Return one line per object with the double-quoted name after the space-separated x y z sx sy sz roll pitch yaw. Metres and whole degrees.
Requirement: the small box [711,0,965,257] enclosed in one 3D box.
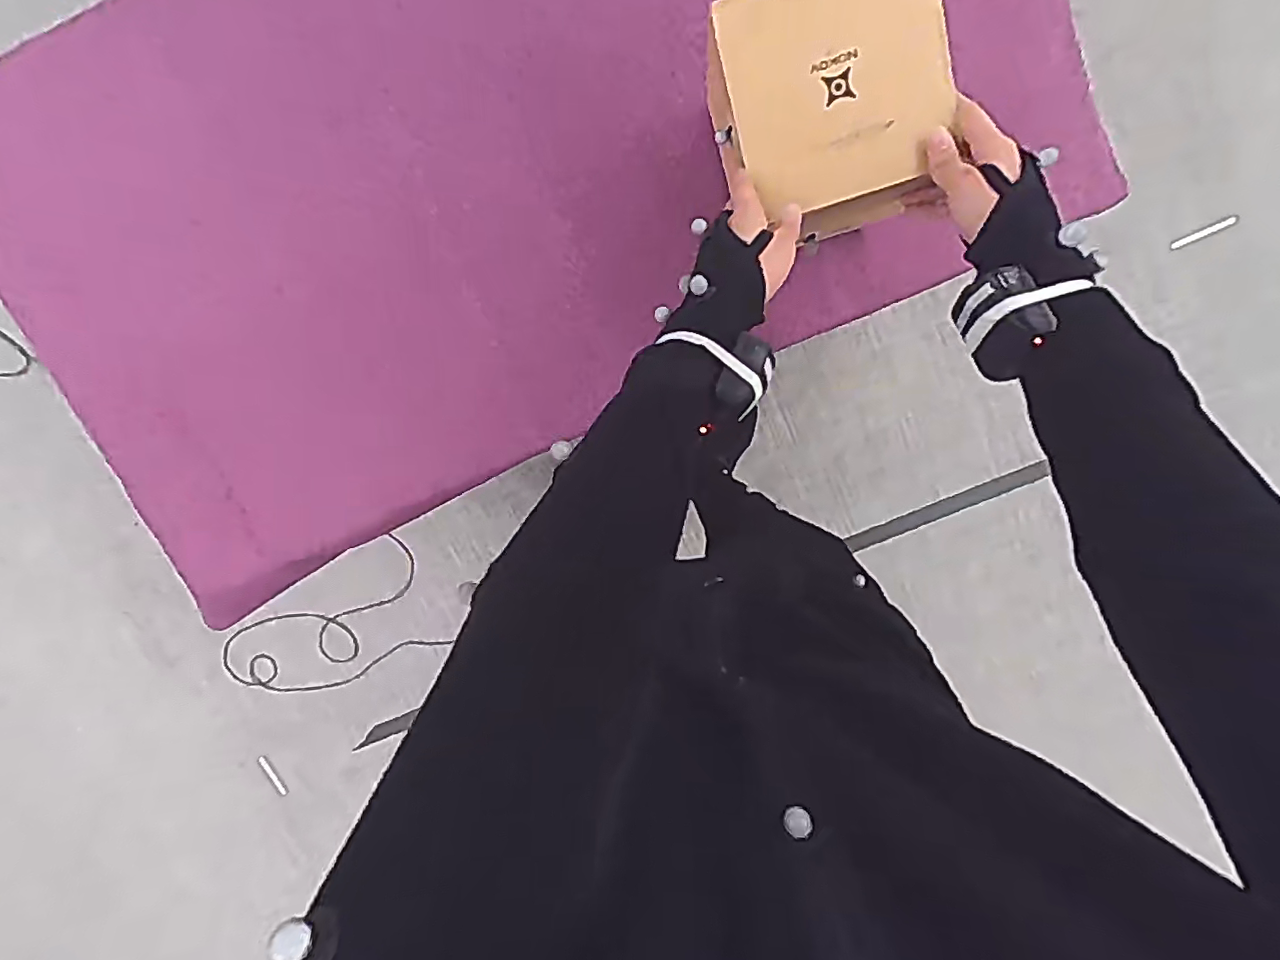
0.162 -0.328 0.495 0.168 0.176 0.179 -13 100 10 "small box"
